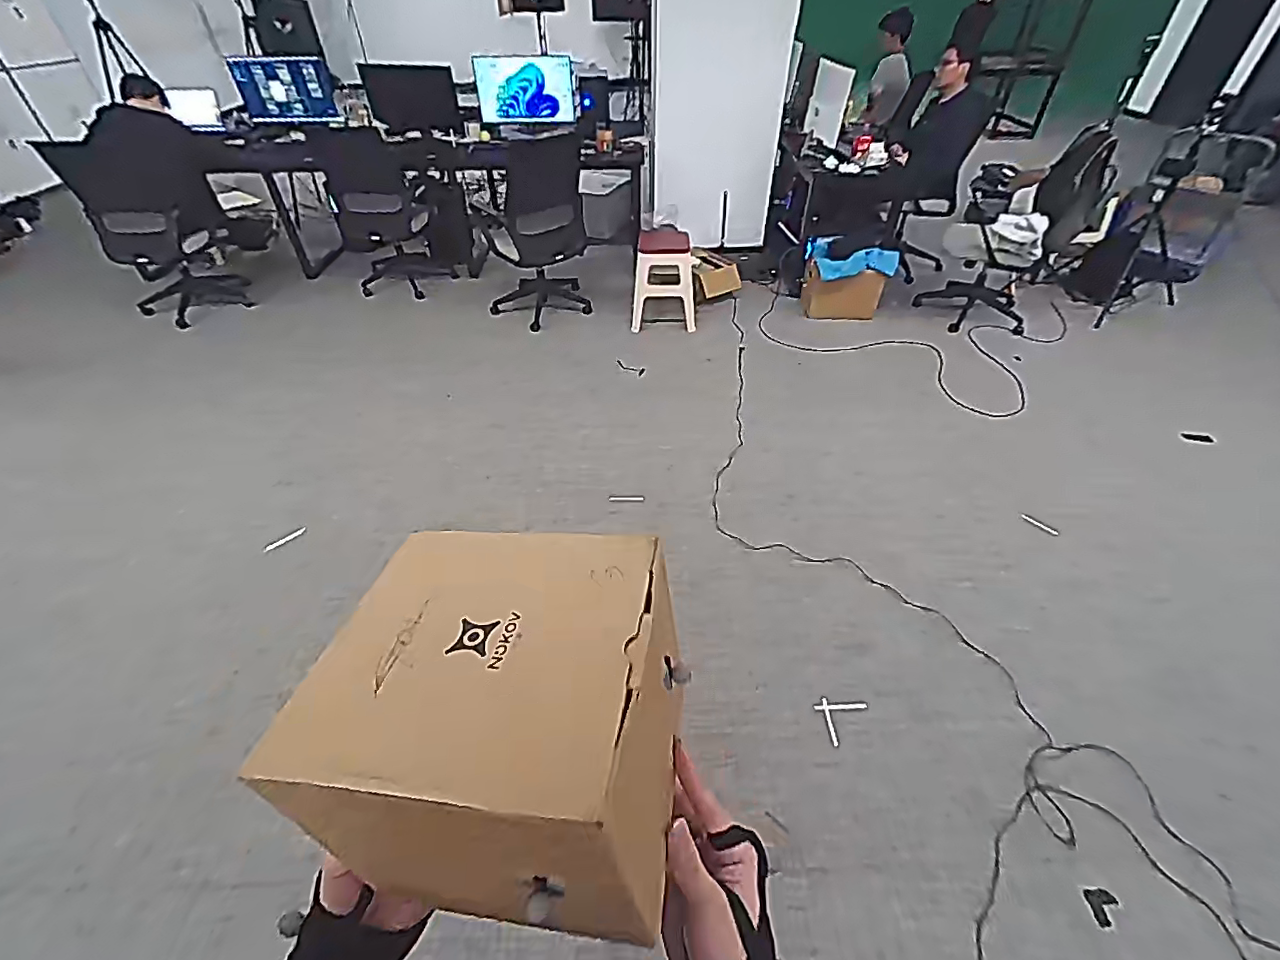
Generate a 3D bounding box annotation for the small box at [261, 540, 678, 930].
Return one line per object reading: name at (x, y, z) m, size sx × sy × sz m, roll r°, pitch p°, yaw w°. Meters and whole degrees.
small box at (-0.072, 0.156, 0.346) m, size 0.179 × 0.176 × 0.168 m, roll -2°, pitch 36°, yaw 11°
